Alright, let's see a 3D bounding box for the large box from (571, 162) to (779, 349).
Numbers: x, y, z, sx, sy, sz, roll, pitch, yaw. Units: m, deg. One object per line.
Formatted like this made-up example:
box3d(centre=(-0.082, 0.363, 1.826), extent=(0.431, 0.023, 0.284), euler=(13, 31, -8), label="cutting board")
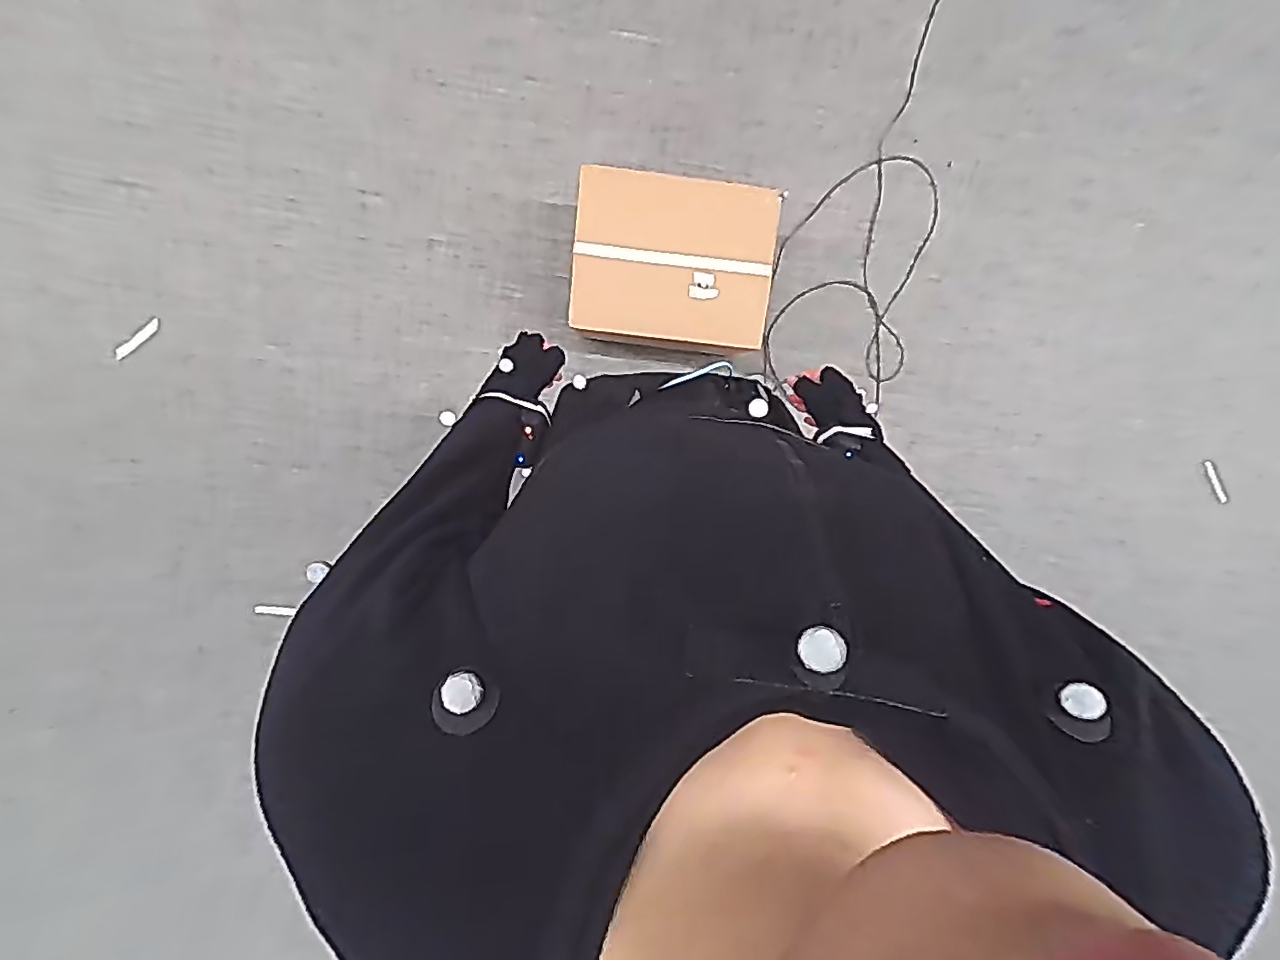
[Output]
box3d(centre=(0.060, -0.485, 1.242), extent=(0.408, 0.320, 0.320), euler=(6, 101, -4), label="large box")
